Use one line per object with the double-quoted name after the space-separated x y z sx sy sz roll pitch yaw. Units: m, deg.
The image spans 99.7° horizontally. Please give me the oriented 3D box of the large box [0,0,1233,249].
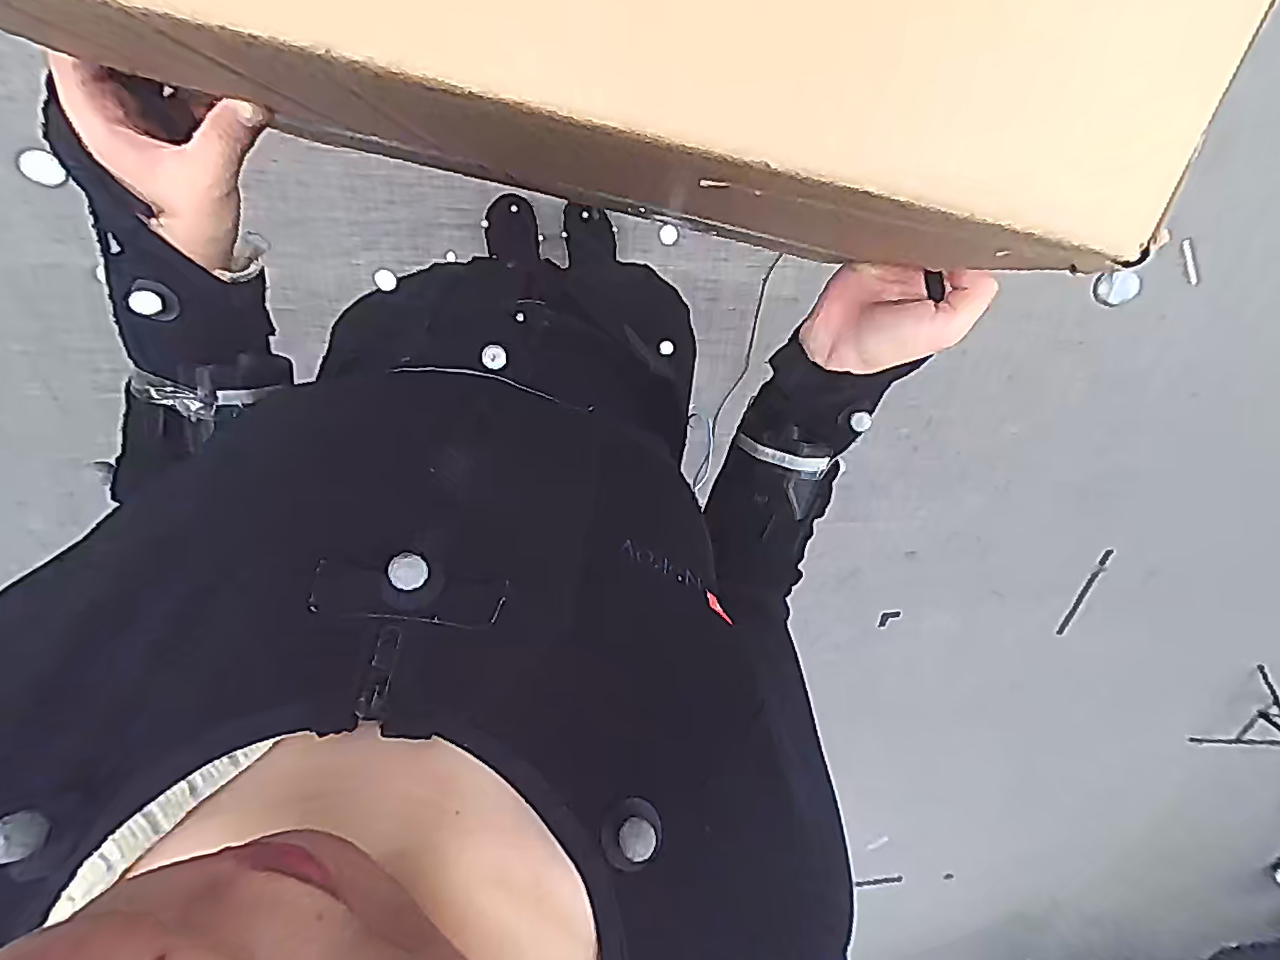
-0.023 -0.304 0.225 0.408 0.320 0.320 9 114 -5 "large box"
